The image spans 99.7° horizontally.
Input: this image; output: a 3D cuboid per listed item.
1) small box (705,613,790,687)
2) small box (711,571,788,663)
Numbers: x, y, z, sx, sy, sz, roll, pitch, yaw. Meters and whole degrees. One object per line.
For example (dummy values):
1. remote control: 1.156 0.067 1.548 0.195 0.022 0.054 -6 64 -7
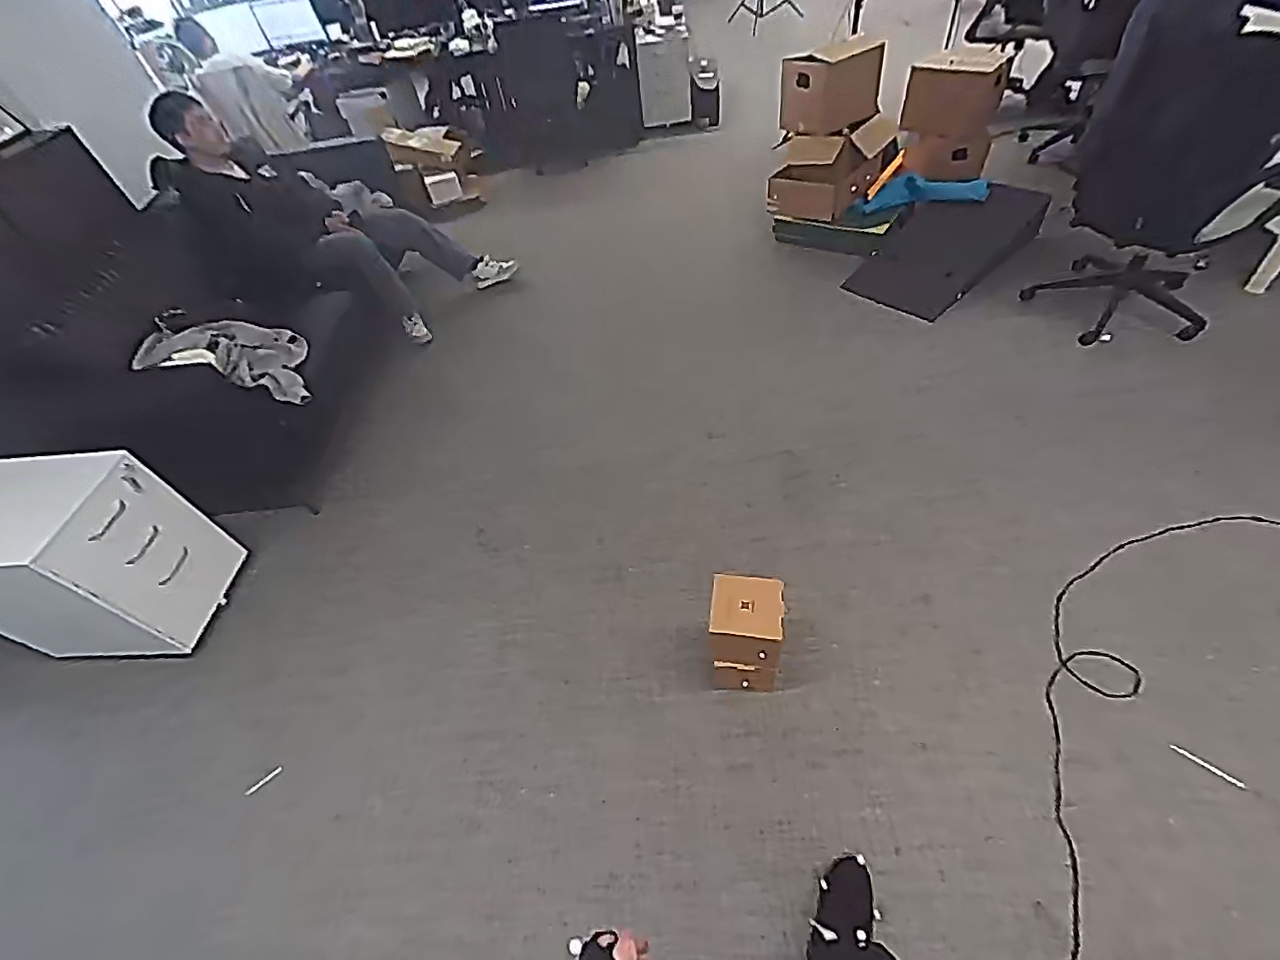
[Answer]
1. small box: 0.304 0.453 1.521 0.179 0.176 0.168 -24 48 -8
2. small box: 0.285 0.357 1.400 0.179 0.176 0.168 3 49 15
